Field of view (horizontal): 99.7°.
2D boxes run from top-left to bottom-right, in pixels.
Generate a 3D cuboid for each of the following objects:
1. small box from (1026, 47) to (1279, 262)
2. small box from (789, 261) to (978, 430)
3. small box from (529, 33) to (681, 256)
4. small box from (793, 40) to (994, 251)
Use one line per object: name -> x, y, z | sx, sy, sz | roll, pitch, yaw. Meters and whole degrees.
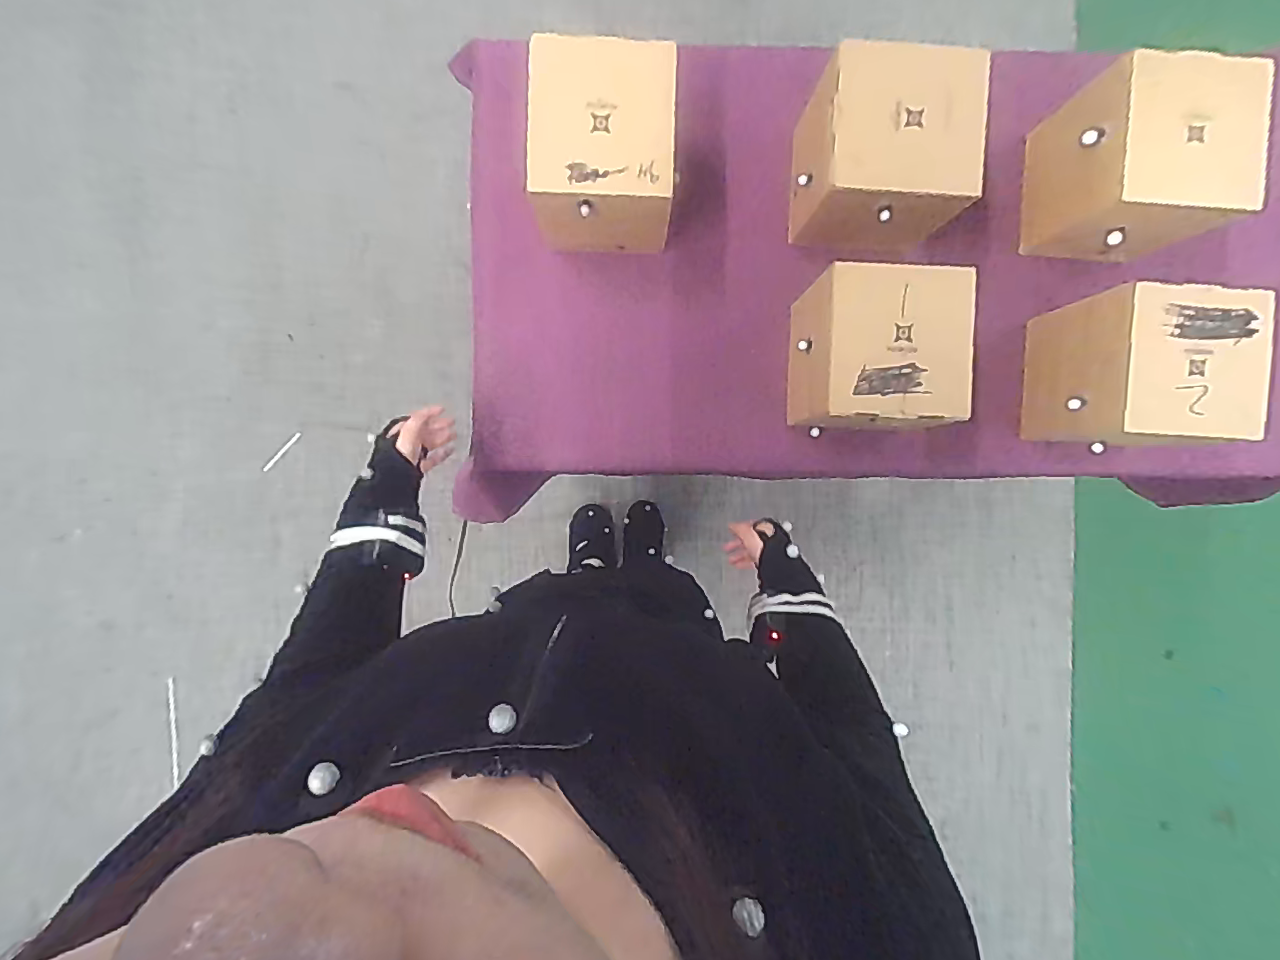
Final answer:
small box -> 0.632, -0.397, 0.689 | 0.168, 0.176, 0.179 | 4, 90, 0
small box -> 0.295, -0.158, 0.690 | 0.168, 0.176, 0.179 | 2, 90, -1
small box -> -0.041, -0.407, 0.682 | 0.168, 0.176, 0.179 | 2, 91, -1
small box -> 0.305, -0.408, 0.687 | 0.179, 0.176, 0.168 | 4, 92, -1
